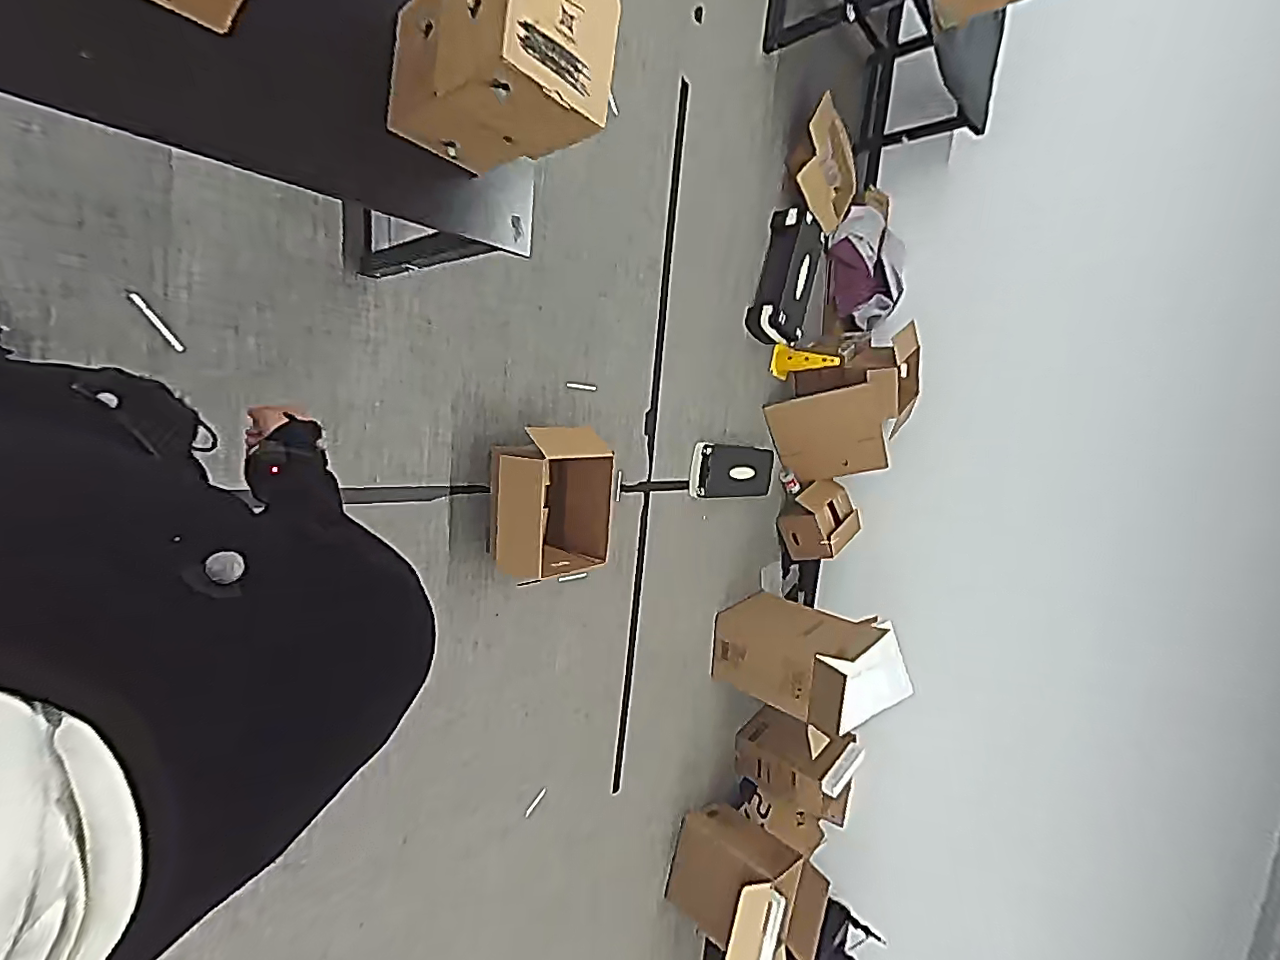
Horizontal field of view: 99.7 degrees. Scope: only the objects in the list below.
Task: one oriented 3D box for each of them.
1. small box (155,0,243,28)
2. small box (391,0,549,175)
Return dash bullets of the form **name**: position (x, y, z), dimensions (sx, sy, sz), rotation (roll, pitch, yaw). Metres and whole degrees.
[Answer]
- **small box**: position (-0.513, -0.637, 0.563), dimensions (0.168, 0.176, 0.179), rotation (-2, 101, -47)
- **small box**: position (-0.265, -0.611, 0.837), dimensions (0.168, 0.176, 0.179), rotation (5, 96, -47)
